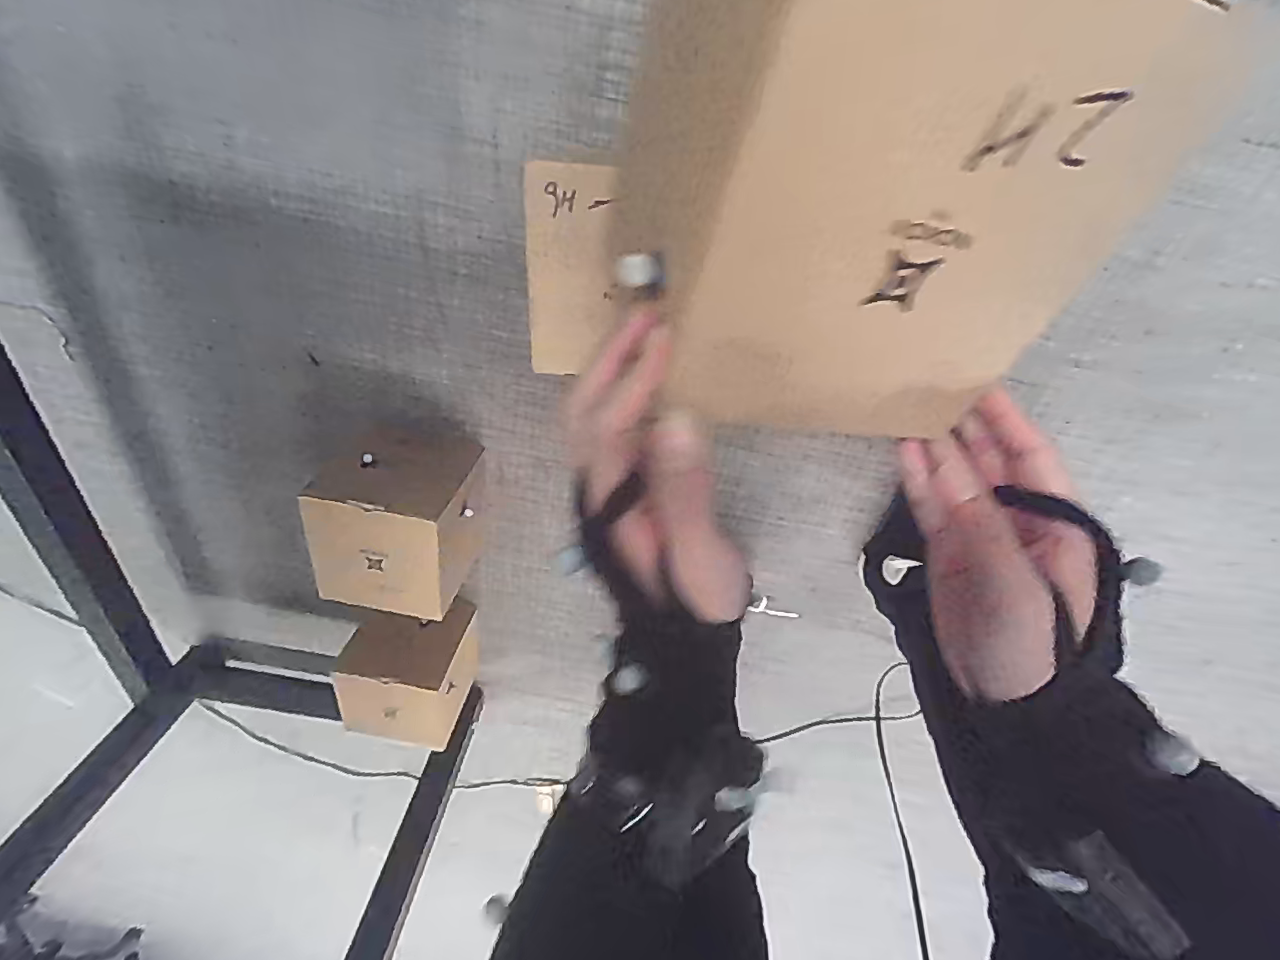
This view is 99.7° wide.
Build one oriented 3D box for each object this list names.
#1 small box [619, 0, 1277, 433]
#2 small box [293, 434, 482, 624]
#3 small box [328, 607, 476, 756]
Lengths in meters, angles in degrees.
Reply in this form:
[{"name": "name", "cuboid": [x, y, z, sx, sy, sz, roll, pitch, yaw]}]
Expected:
[{"name": "small box", "cuboid": [0.091, -0.147, 0.258, 0.168, 0.176, 0.179, 3, 136, -17]}, {"name": "small box", "cuboid": [-0.320, 0.059, 0.726, 0.168, 0.176, 0.179, 11, 124, 0]}, {"name": "small box", "cuboid": [-0.382, 0.324, 0.905, 0.168, 0.176, 0.179, 10, 123, 0]}]
